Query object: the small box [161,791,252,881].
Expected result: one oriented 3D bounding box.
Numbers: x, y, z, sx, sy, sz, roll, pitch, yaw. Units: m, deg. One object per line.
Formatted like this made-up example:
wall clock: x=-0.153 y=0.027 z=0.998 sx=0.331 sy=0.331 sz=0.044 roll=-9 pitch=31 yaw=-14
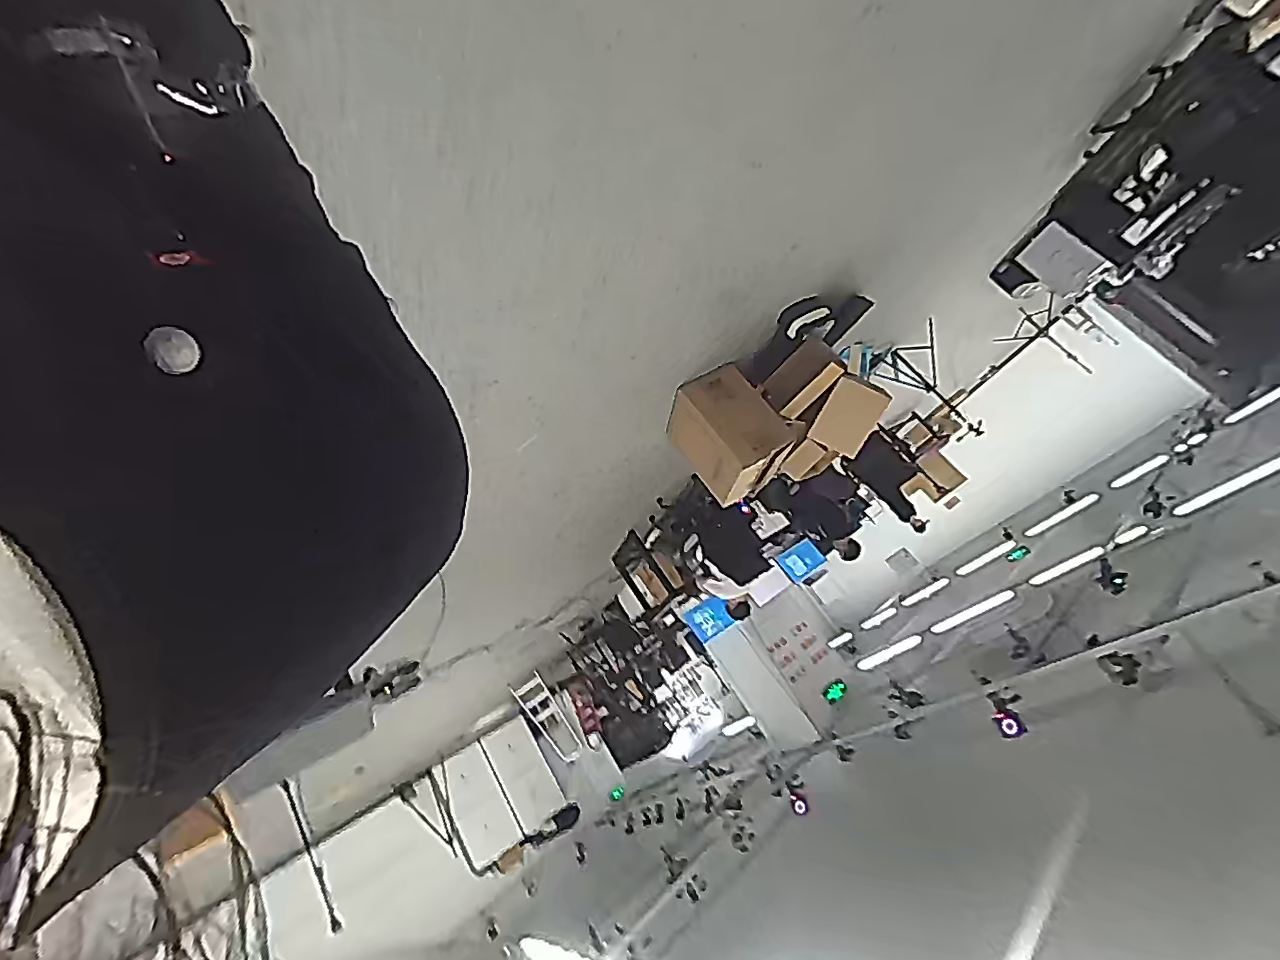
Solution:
small box: x=-1.381 y=1.132 z=1.720 sx=0.179 sy=0.176 sz=0.168 roll=-25 pitch=159 yaw=-34
